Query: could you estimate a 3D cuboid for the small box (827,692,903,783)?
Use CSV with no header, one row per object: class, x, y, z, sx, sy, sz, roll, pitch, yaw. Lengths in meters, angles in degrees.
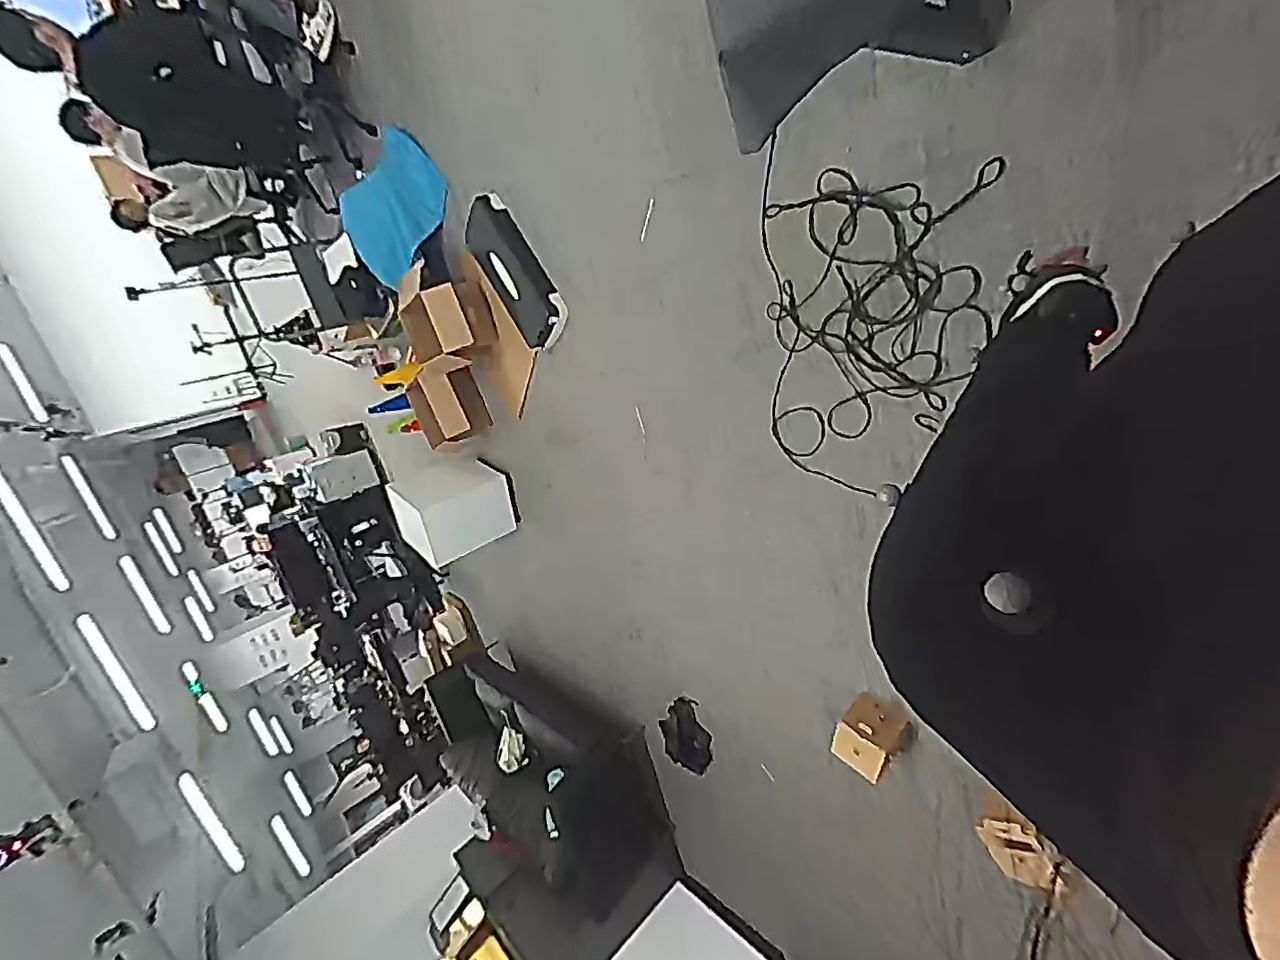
small box,0.760,0.864,1.825,0.168,0.176,0.179,29,132,39
